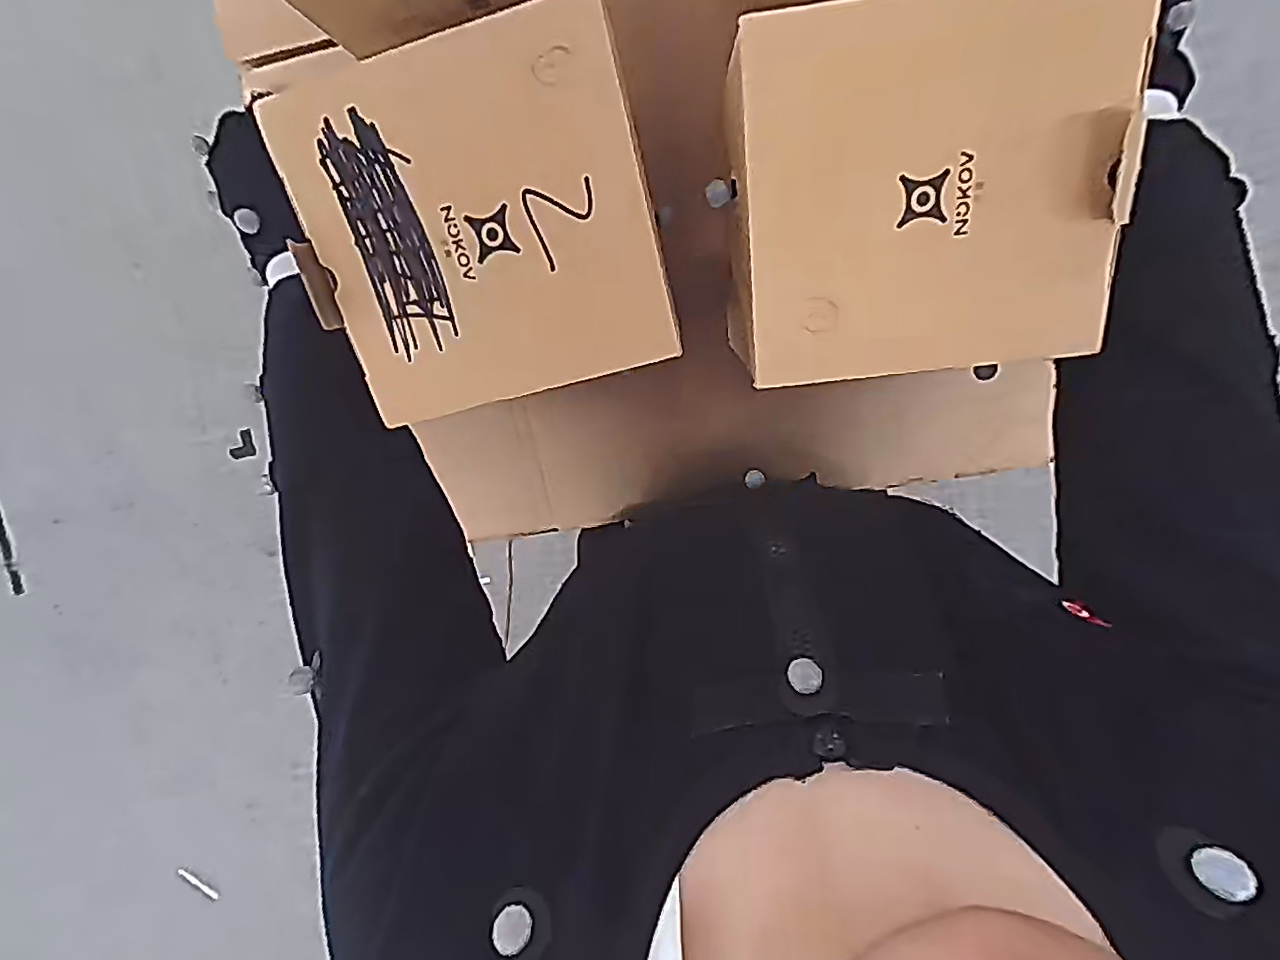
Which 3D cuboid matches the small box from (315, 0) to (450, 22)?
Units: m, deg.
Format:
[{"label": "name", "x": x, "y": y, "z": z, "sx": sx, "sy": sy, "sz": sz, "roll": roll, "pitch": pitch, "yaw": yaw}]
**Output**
[{"label": "small box", "x": -0.152, "y": -0.384, "z": 0.279, "sx": 0.168, "sy": 0.176, "sz": 0.179, "roll": -9, "pitch": 106, "yaw": 7}]
